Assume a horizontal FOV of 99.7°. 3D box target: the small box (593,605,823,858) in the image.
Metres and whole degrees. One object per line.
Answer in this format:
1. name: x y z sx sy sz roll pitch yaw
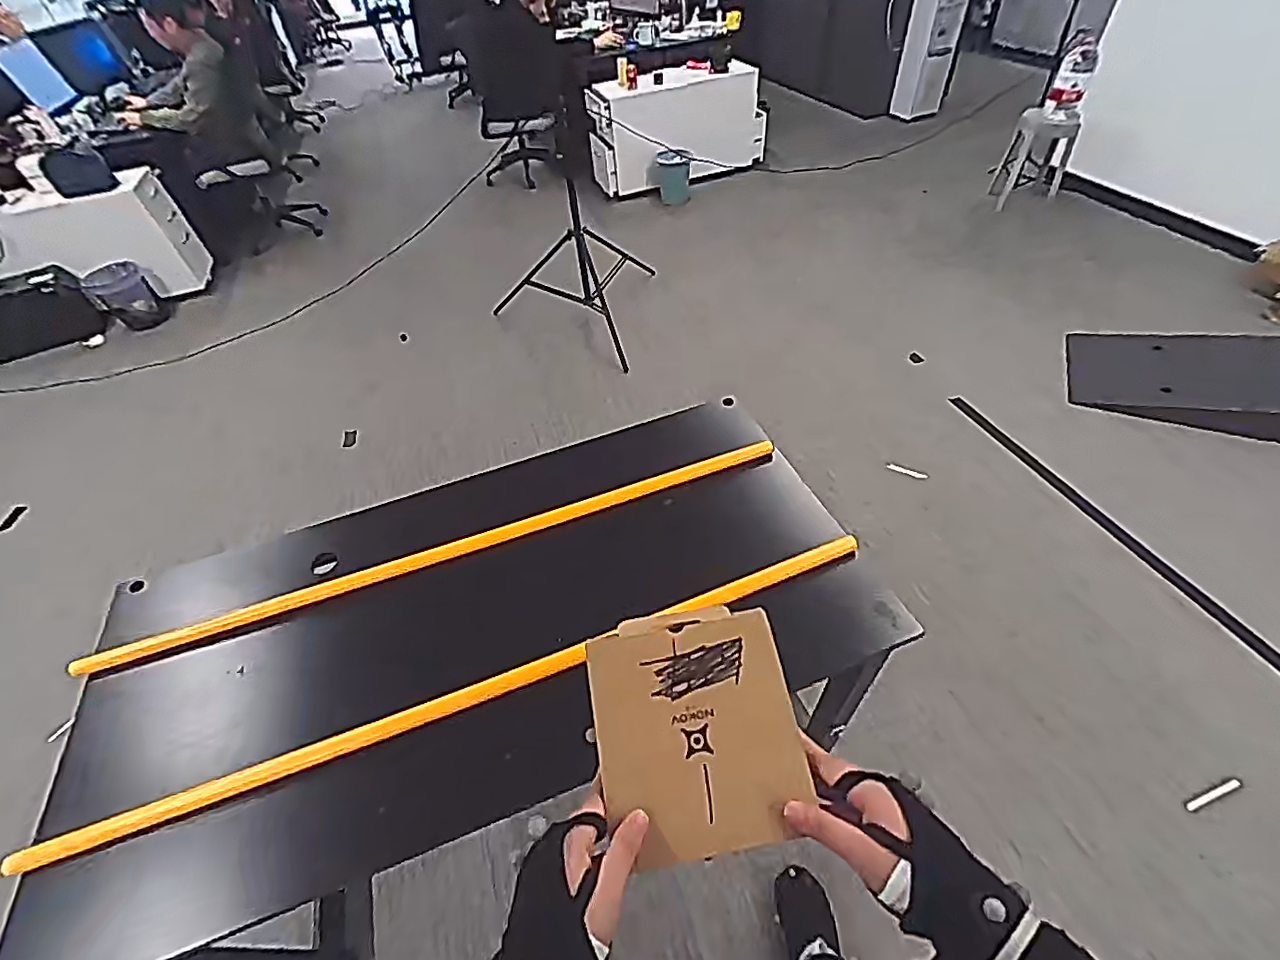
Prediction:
1. small box: 0.051 0.239 0.522 0.168 0.176 0.179 -9 62 -2
